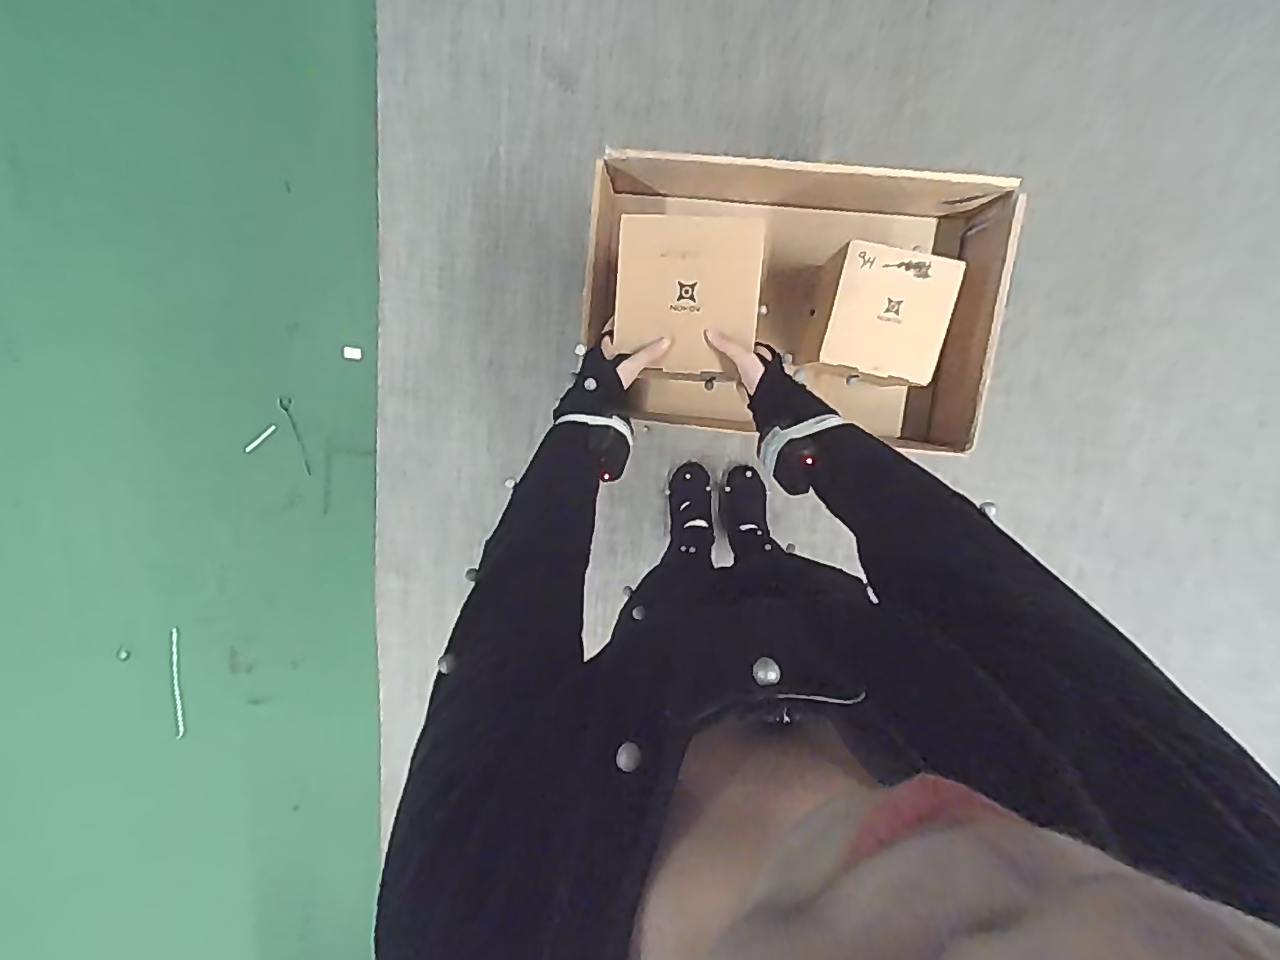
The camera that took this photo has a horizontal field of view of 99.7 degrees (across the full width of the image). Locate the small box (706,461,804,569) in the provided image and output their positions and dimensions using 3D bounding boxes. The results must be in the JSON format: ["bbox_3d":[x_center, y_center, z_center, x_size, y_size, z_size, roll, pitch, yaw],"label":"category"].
[{"bbox_3d":[0.283,0.092,1.379,0.179,0.176,0.168,-36,61,-22],"label":"small box"}]

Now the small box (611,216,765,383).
[{"bbox_3d":[0.062,-0.220,0.699,0.168,0.176,0.179,5,98,6],"label":"small box"}]
